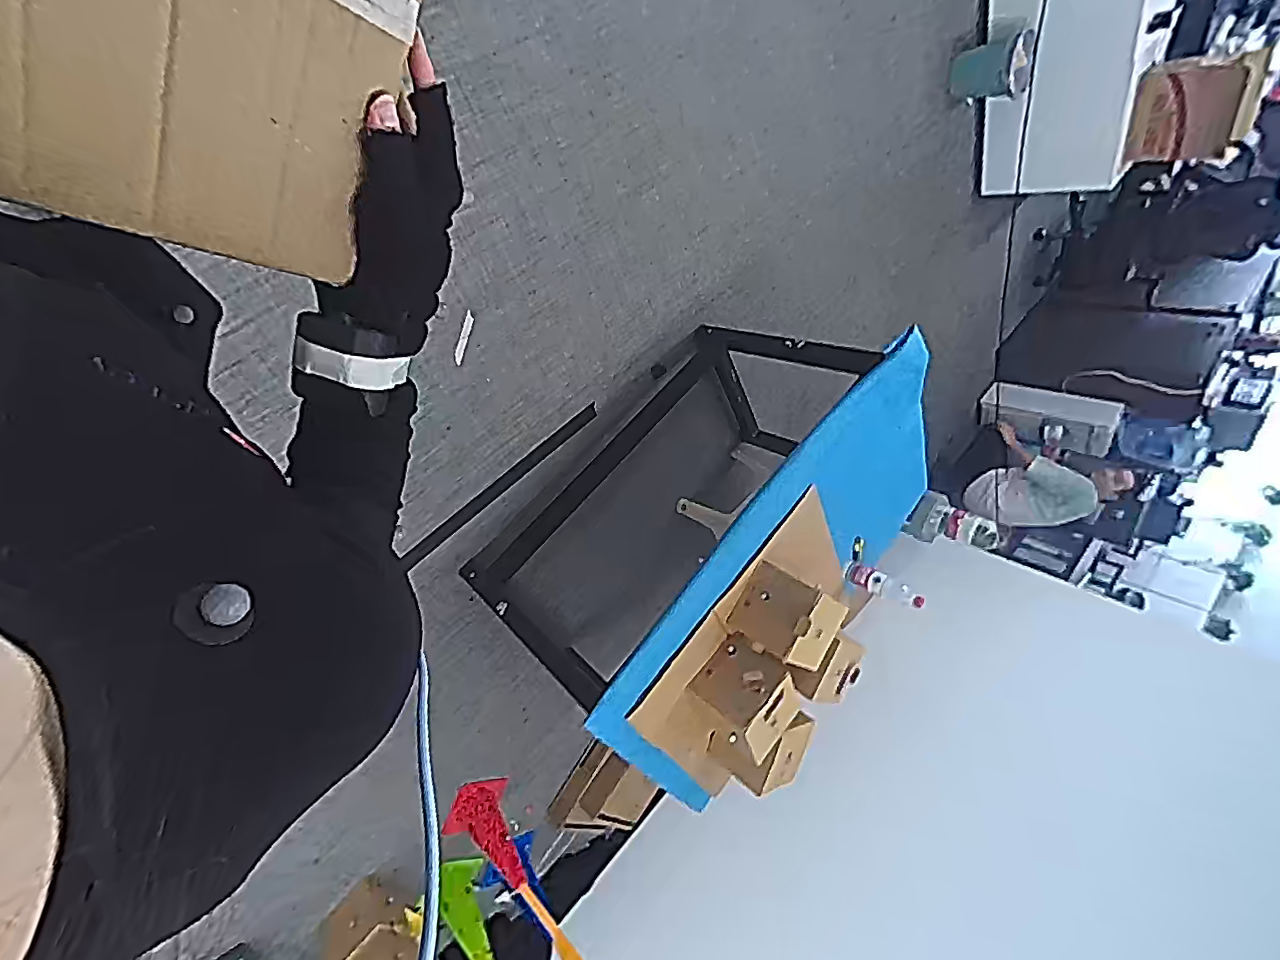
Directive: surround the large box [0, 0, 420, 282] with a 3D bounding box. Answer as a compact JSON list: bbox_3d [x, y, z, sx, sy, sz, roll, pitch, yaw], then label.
[{"bbox_3d":[-0.358,-0.345,0.253,0.408,0.320,0.320,1,127,-47],"label":"large box"}]
